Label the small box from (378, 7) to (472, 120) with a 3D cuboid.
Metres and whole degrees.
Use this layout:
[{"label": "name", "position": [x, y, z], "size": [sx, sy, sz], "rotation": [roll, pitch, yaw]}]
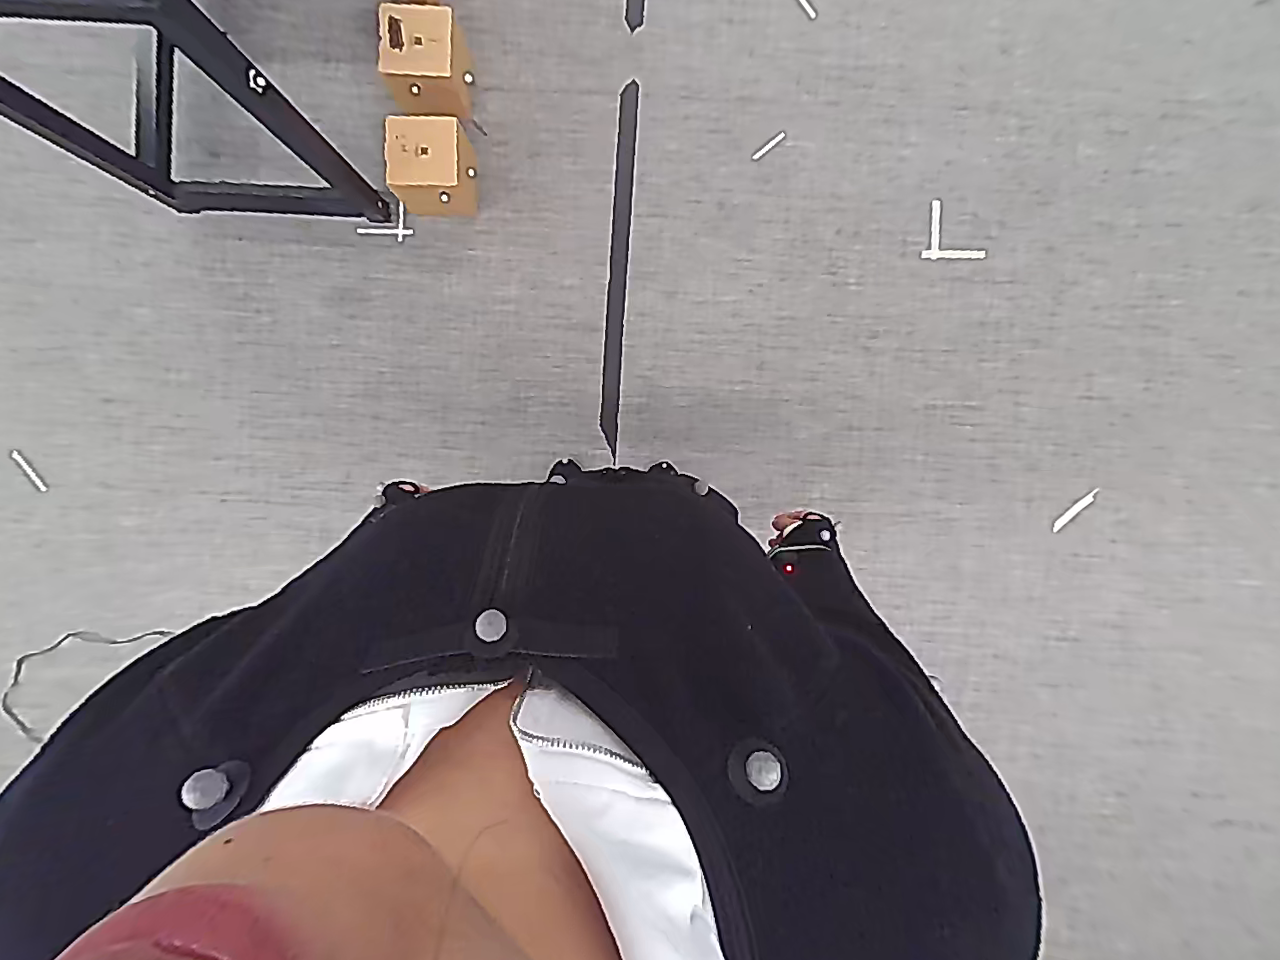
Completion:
[{"label": "small box", "position": [-0.545, -1.055, 1.383], "size": [0.179, 0.176, 0.168], "rotation": [2, 92, -2]}]
